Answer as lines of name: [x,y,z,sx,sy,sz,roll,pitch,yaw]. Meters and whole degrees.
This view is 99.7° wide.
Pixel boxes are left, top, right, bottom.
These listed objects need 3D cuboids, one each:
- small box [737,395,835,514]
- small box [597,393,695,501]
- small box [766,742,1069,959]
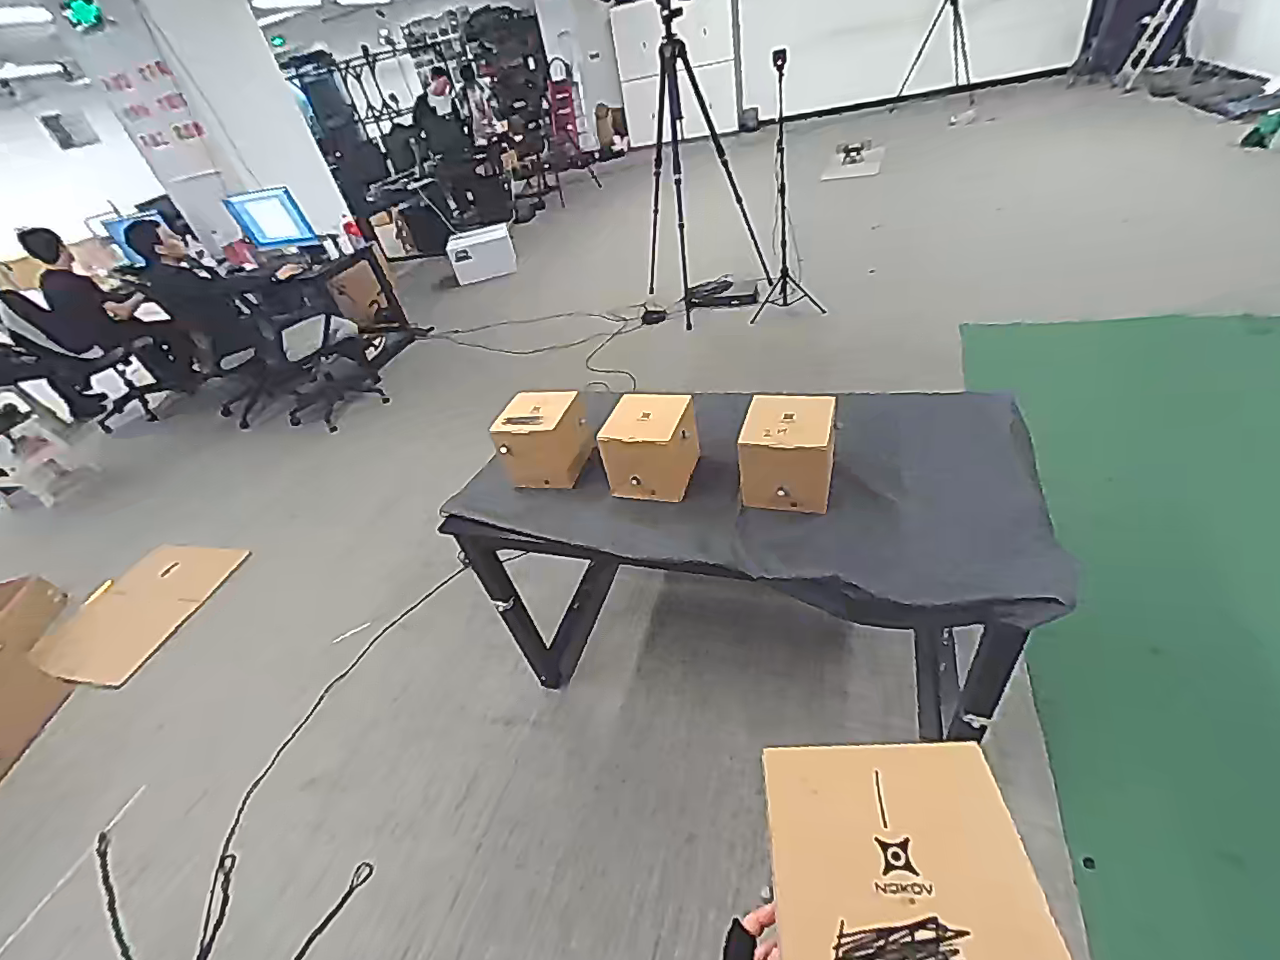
small box: [0.302,-0.056,1.111,0.168,0.176,0.179,5,42,22]
small box: [0.024,-0.076,1.217,0.168,0.176,0.179,5,43,21]
small box: [0.191,0.326,0.407,0.168,0.176,0.179,-7,34,12]
